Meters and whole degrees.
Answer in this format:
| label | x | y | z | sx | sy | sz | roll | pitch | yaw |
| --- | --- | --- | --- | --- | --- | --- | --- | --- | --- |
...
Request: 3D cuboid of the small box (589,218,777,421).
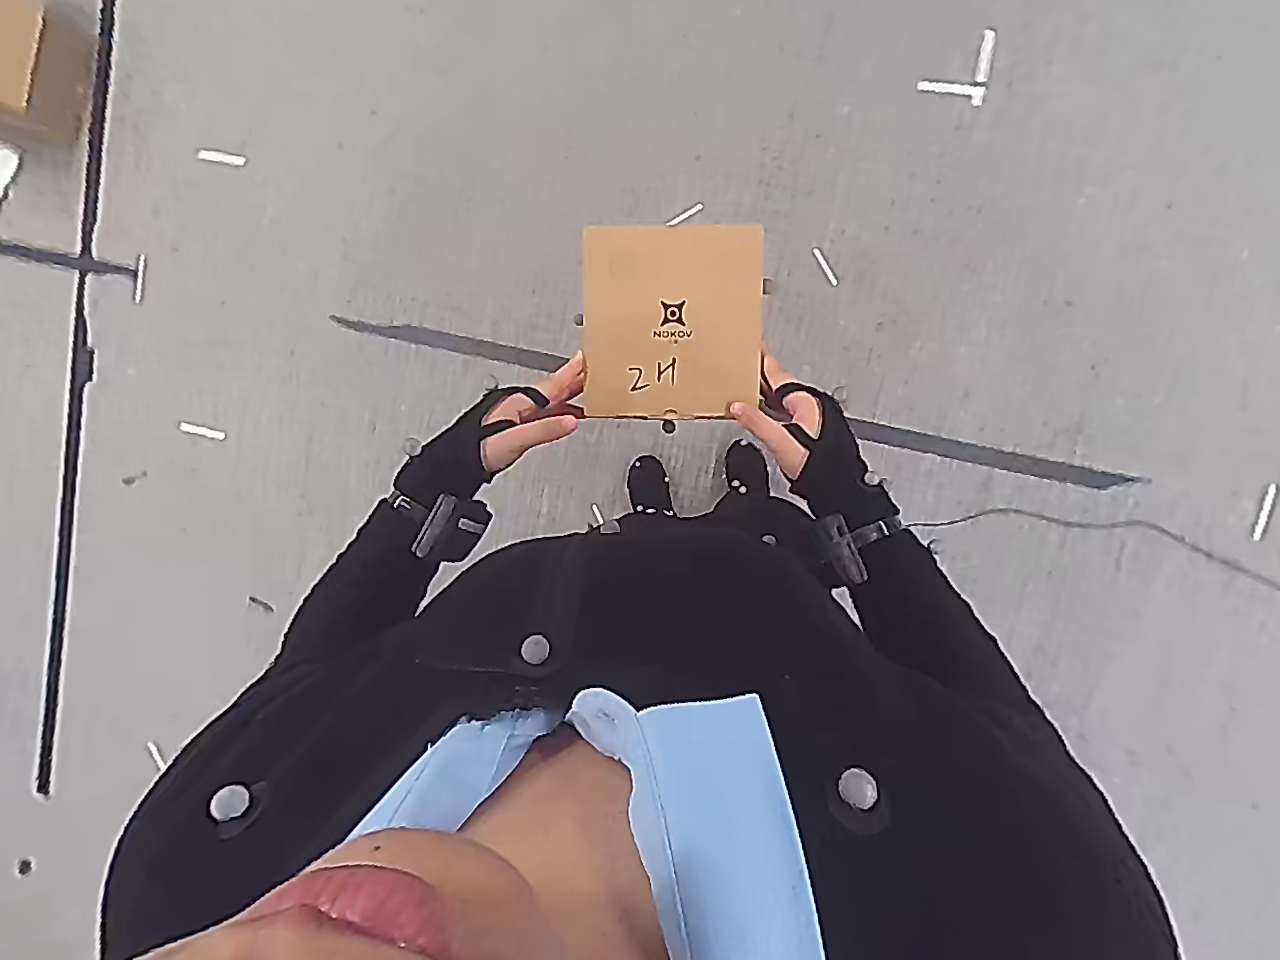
| label | x | y | z | sx | sy | sz | roll | pitch | yaw |
| --- | --- | --- | --- | --- | --- | --- | --- | --- | --- |
| small box | 0.039 | -0.153 | 0.567 | 0.168 | 0.176 | 0.179 | 2 | 98 | 2 |
